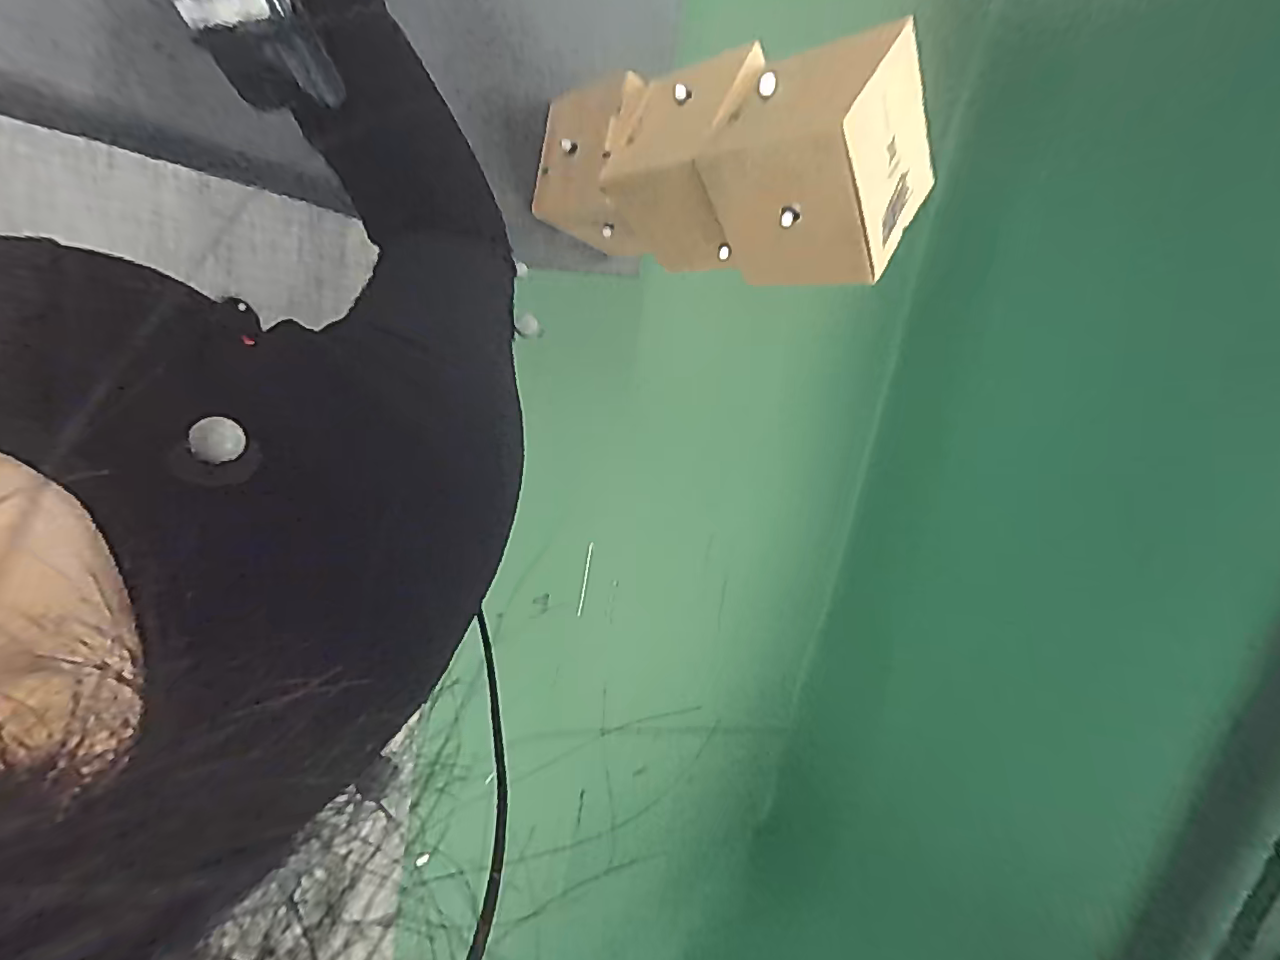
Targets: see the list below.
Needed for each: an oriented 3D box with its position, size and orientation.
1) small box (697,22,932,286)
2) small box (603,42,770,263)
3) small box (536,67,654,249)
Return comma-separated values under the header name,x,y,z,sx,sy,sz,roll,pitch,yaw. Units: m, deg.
name,x,y,z,sx,sy,sz,roll,pitch,yaw
small box,0.194,-0.339,0.595,0.168,0.176,0.179,-57,136,-16
small box,0.083,-0.401,0.702,0.179,0.176,0.168,36,77,-47
small box,-0.031,-0.457,0.806,0.179,0.176,0.168,5,100,-46
